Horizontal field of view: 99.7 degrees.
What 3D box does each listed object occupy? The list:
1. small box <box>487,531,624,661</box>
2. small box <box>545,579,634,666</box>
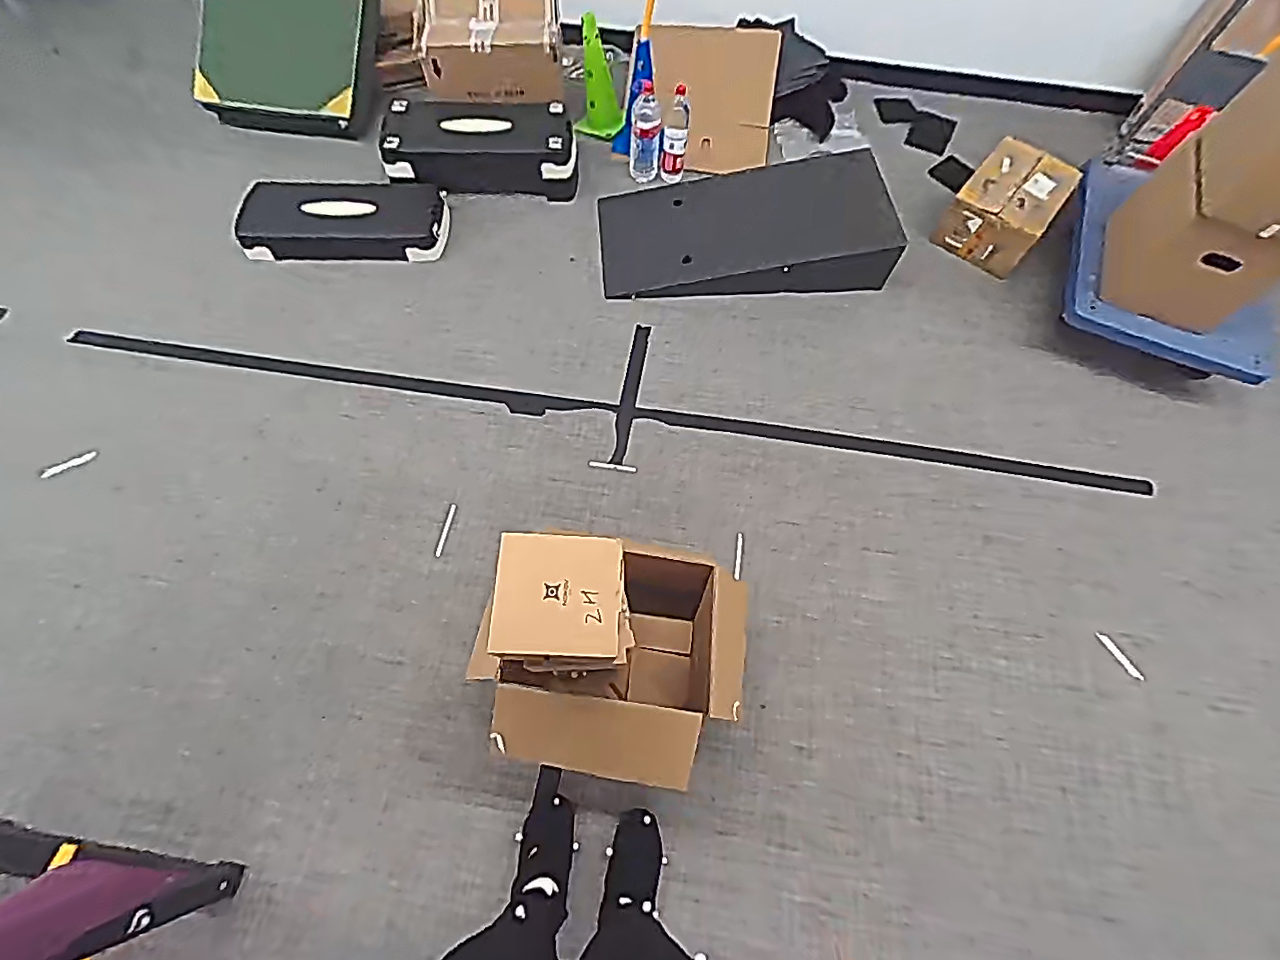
[{"bbox_3d":[-0.119,0.182,0.819,0.179,0.176,0.168,4,69,-4],"label":"small box"},{"bbox_3d":[-0.117,0.287,1.133,0.179,0.176,0.168,-9,69,-10],"label":"small box"}]
